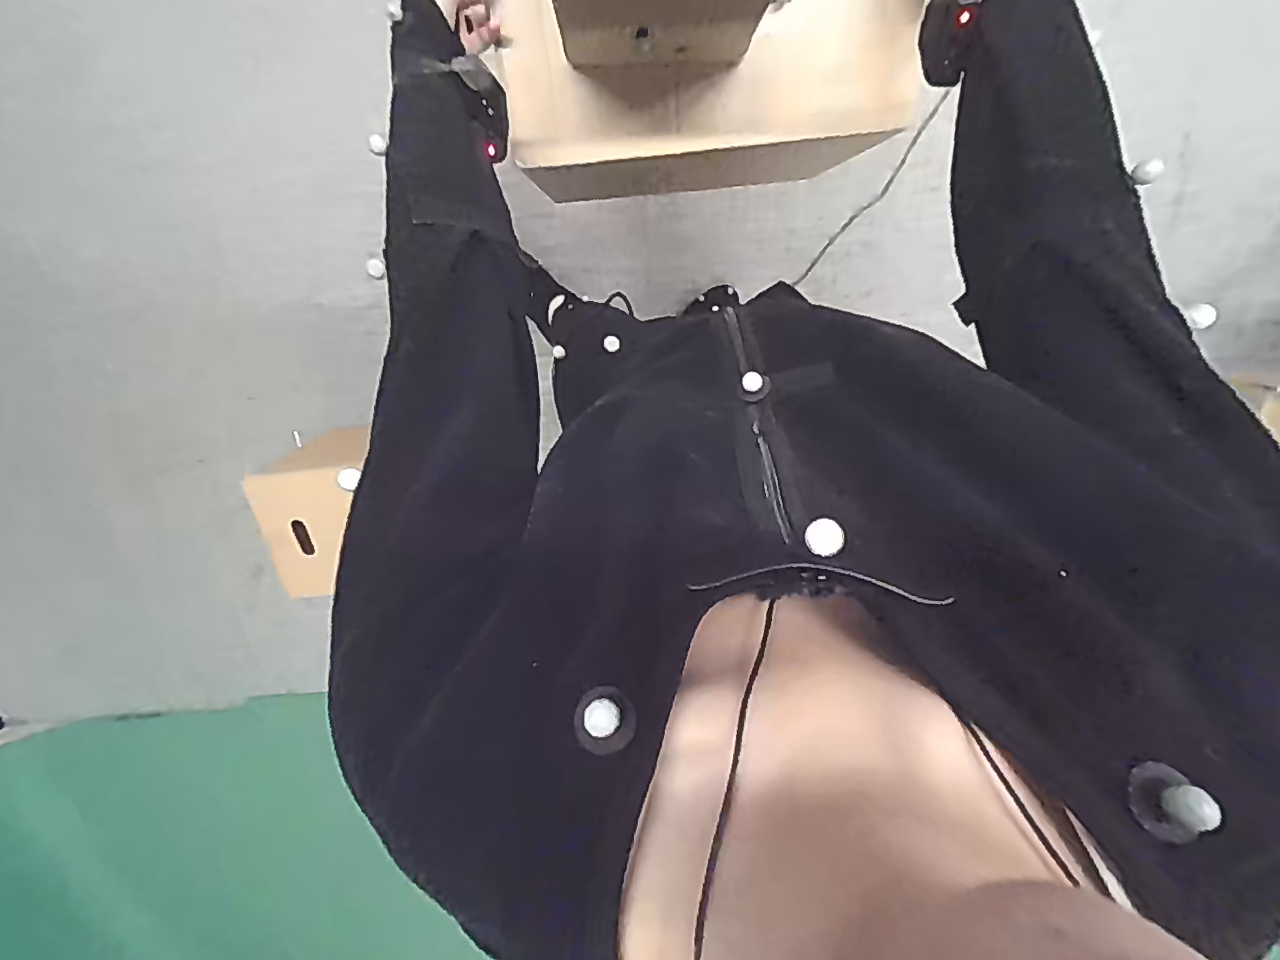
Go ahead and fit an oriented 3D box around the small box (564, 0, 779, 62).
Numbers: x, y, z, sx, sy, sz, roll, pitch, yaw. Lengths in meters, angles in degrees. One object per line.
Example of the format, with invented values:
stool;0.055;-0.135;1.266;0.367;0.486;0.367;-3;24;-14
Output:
small box;0.020;-0.440;0.391;0.168;0.176;0.179;-2;110;0

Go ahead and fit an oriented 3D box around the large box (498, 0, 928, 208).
large box;0.059;-0.523;0.623;0.408;0.320;0.320;-6;111;0
